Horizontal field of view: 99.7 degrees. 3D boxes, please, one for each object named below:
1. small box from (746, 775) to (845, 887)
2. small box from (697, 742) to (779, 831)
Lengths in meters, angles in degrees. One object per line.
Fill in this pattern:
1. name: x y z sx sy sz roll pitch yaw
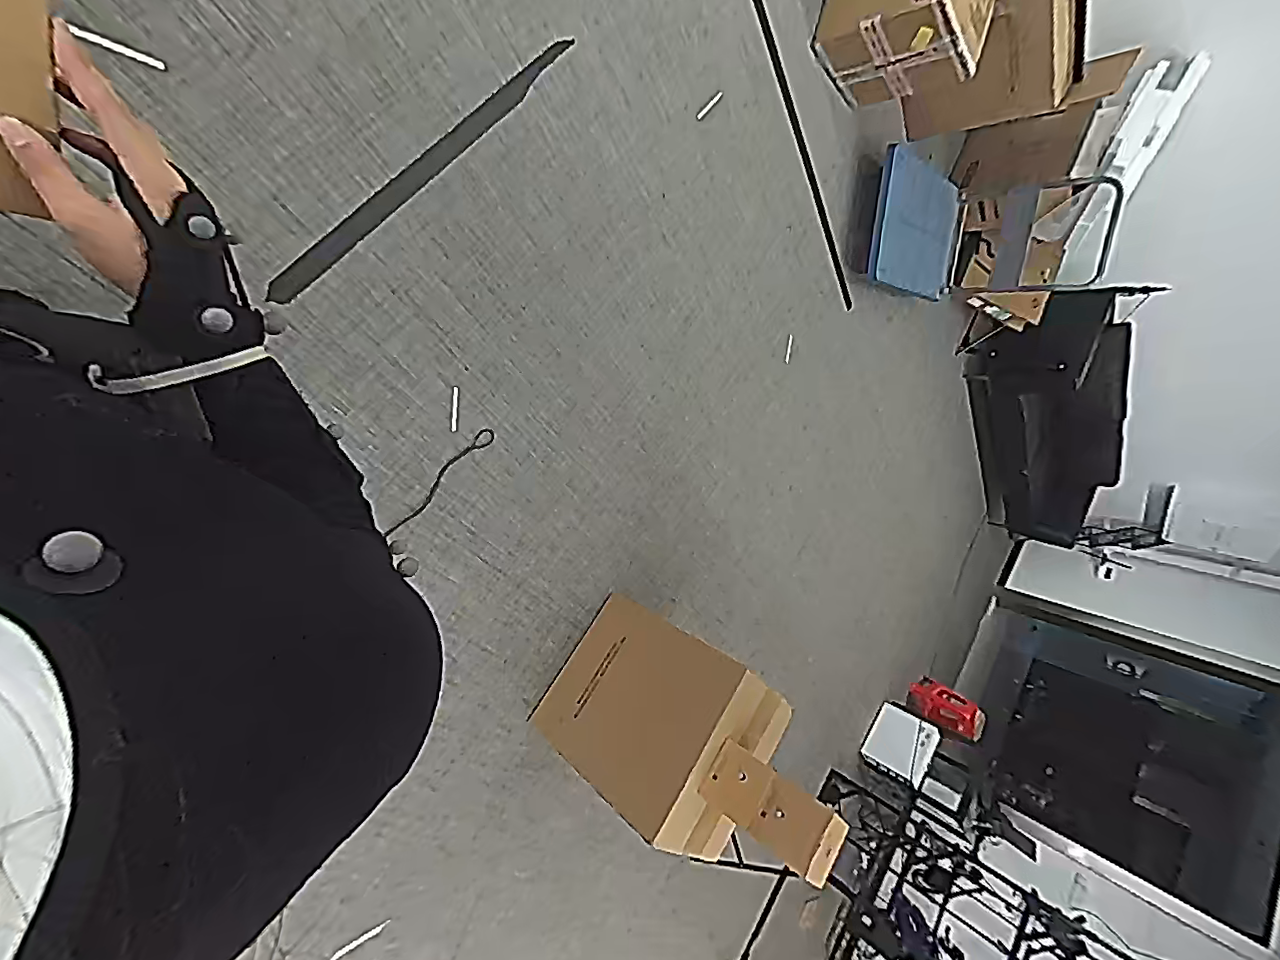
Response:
1. small box: 0.403 0.903 1.401 0.168 0.176 0.179 -54 133 -21
2. small box: 0.286 0.864 1.512 0.168 0.176 0.179 -55 133 -19
